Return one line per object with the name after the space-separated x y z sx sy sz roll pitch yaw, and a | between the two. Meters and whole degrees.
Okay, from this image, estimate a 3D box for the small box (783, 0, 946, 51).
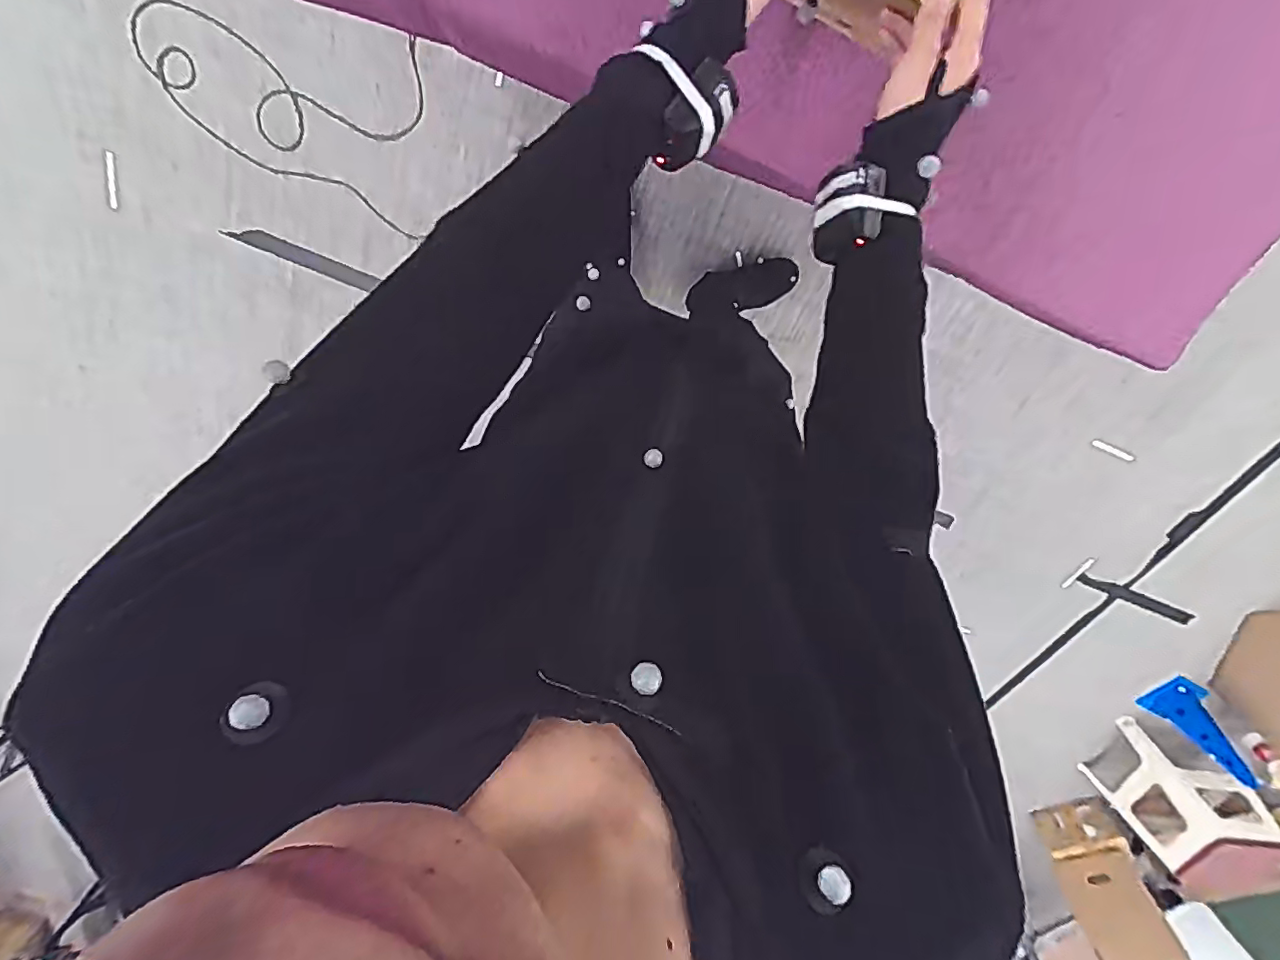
0.199 -0.494 0.432 0.168 0.176 0.179 25 119 -7 | small box
